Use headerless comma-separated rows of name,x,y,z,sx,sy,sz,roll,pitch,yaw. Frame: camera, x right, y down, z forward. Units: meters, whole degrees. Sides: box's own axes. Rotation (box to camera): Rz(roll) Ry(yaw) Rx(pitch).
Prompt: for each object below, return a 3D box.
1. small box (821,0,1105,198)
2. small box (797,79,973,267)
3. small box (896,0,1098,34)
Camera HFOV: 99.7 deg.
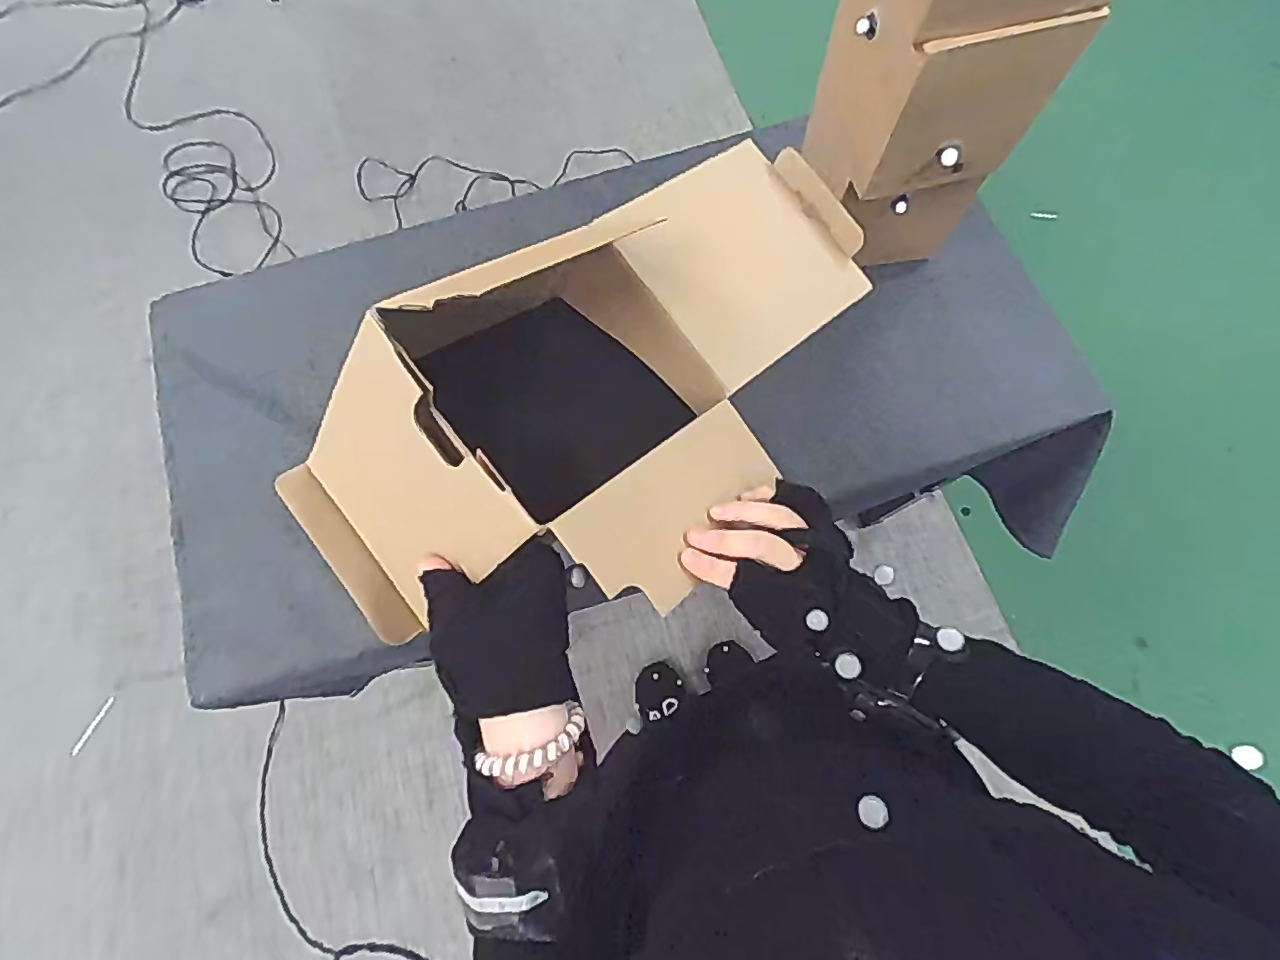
small box,0.308,-0.437,0.564,0.168,0.176,0.179,-12,74,0
small box,0.320,-0.409,0.726,0.179,0.176,0.168,-6,74,0
small box,0.296,-0.485,0.408,0.179,0.176,0.168,-10,74,0
